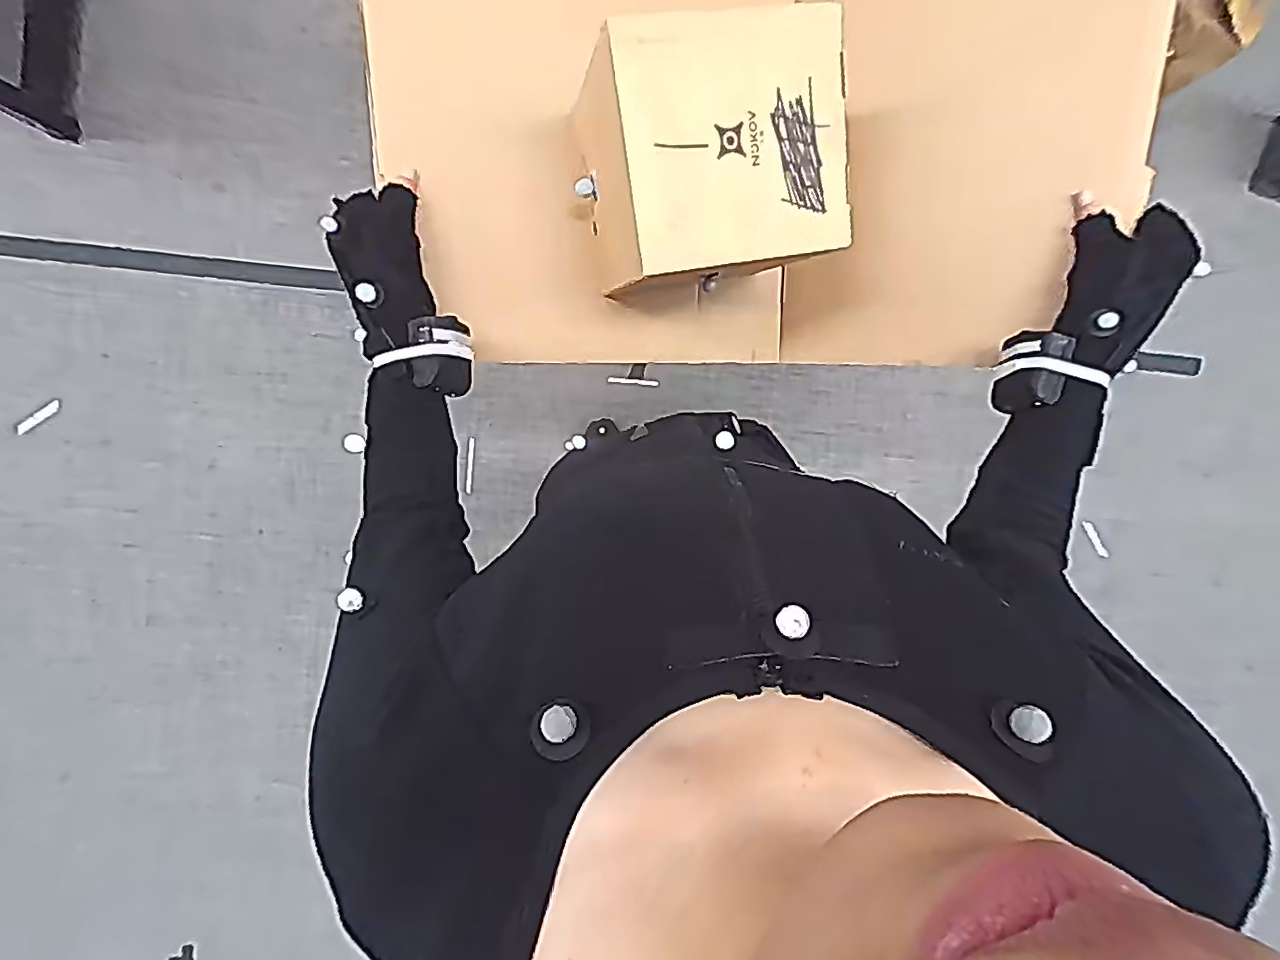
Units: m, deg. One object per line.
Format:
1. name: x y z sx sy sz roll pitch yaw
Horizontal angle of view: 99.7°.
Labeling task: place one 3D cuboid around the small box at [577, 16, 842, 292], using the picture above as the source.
1. small box: 0.052 -0.266 0.477 0.179 0.176 0.168 -12 106 -11
